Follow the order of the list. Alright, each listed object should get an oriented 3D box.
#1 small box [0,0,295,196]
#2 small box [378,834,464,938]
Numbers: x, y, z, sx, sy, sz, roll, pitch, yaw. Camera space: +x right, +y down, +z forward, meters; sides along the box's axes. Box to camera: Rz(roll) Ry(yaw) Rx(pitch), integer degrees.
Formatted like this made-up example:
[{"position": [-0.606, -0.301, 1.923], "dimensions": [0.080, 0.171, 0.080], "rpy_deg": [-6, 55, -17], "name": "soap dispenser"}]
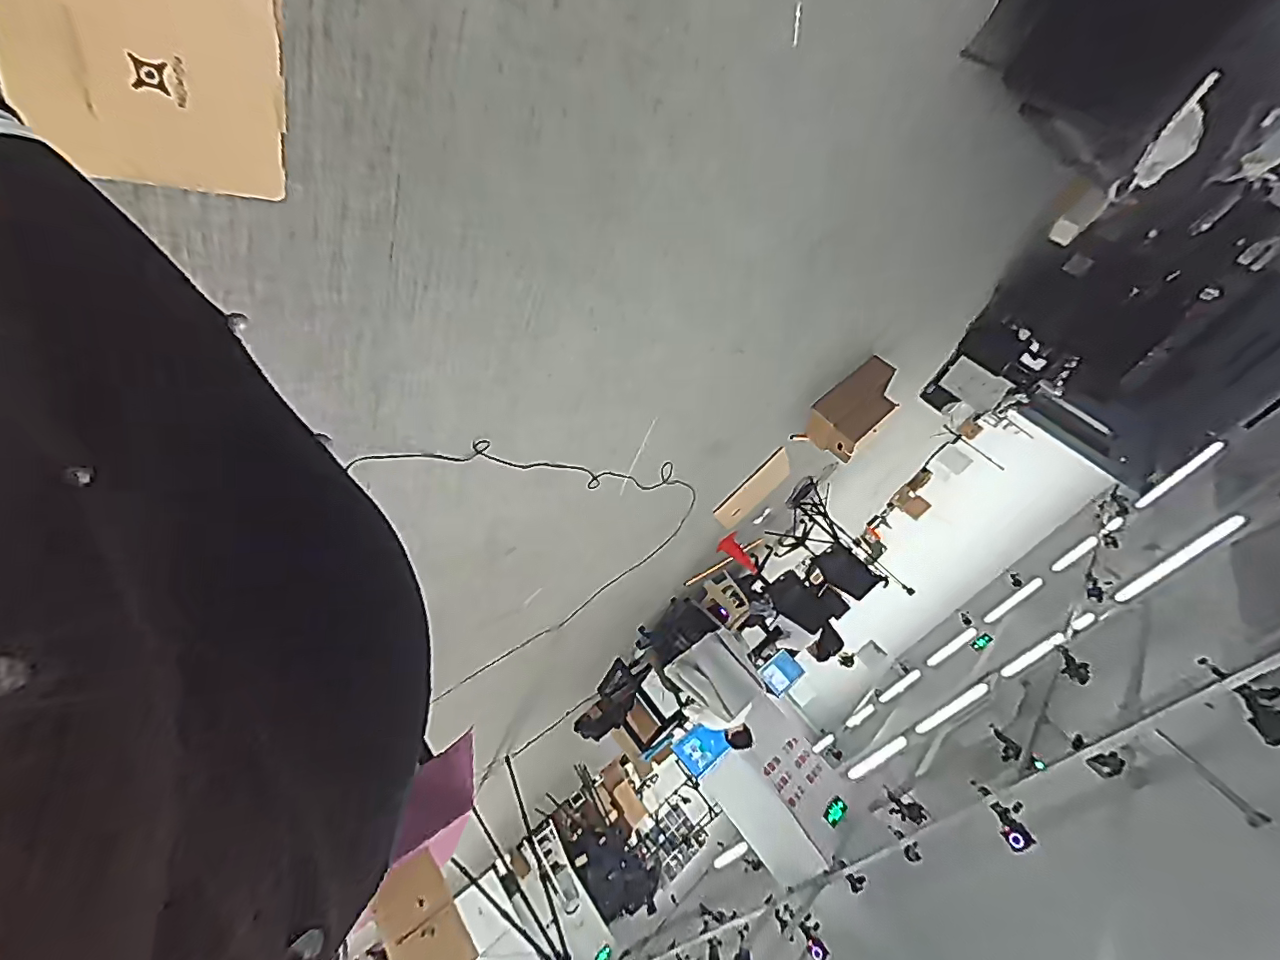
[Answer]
[{"position": [-0.417, -0.367, 0.451], "dimensions": [0.179, 0.176, 0.168], "rpy_deg": [-18, 144, -44], "name": "small box"}, {"position": [-0.668, 1.227, 1.643], "dimensions": [0.179, 0.176, 0.168], "rpy_deg": [-17, 145, -44], "name": "small box"}]
